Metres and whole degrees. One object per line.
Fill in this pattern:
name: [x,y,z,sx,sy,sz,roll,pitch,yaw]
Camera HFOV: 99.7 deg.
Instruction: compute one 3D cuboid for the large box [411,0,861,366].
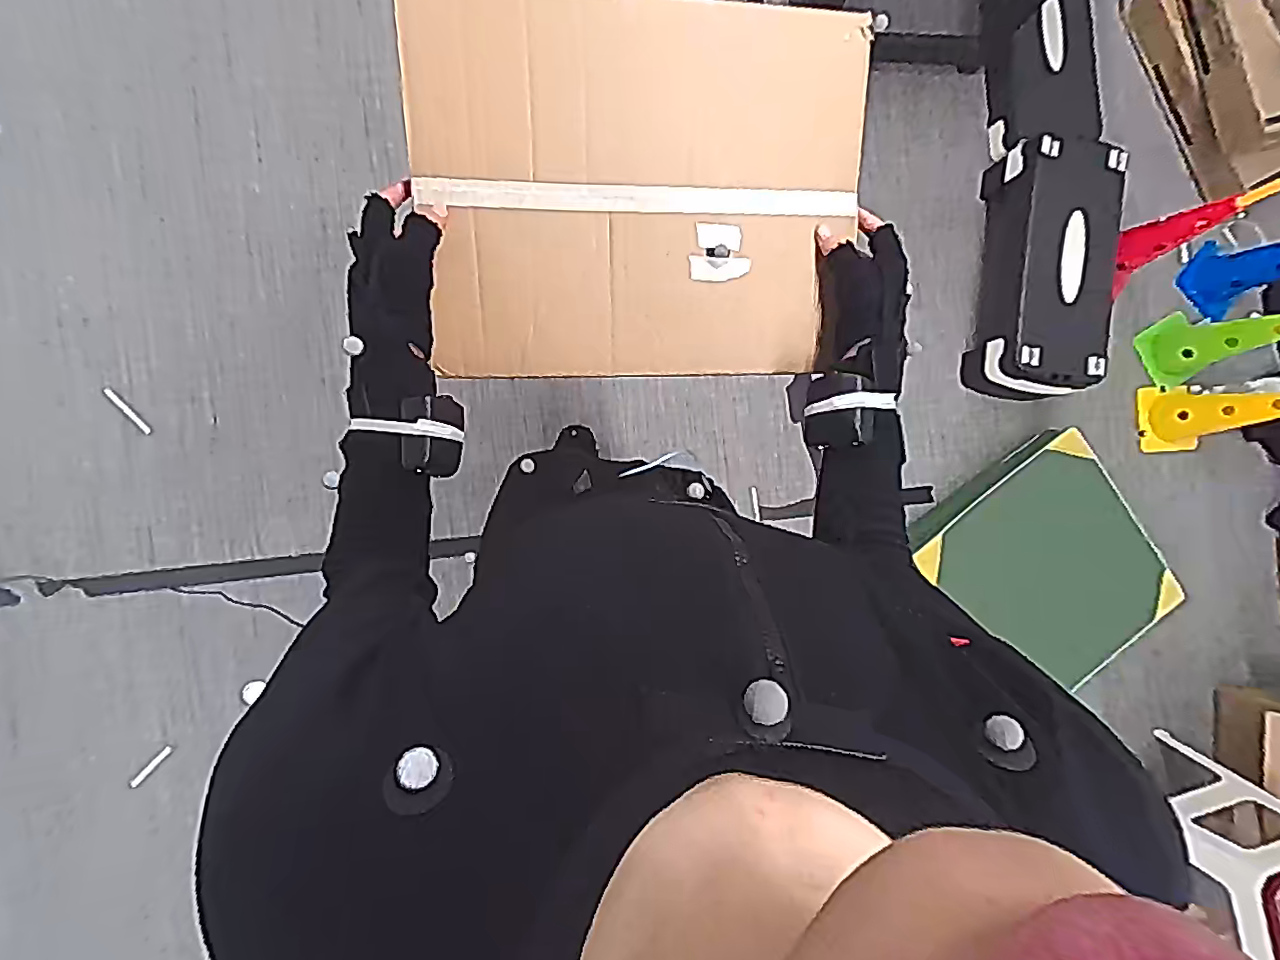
large box: [-0.016,-0.306,0.647,0.408,0.320,0.320,-2,106,-9]
